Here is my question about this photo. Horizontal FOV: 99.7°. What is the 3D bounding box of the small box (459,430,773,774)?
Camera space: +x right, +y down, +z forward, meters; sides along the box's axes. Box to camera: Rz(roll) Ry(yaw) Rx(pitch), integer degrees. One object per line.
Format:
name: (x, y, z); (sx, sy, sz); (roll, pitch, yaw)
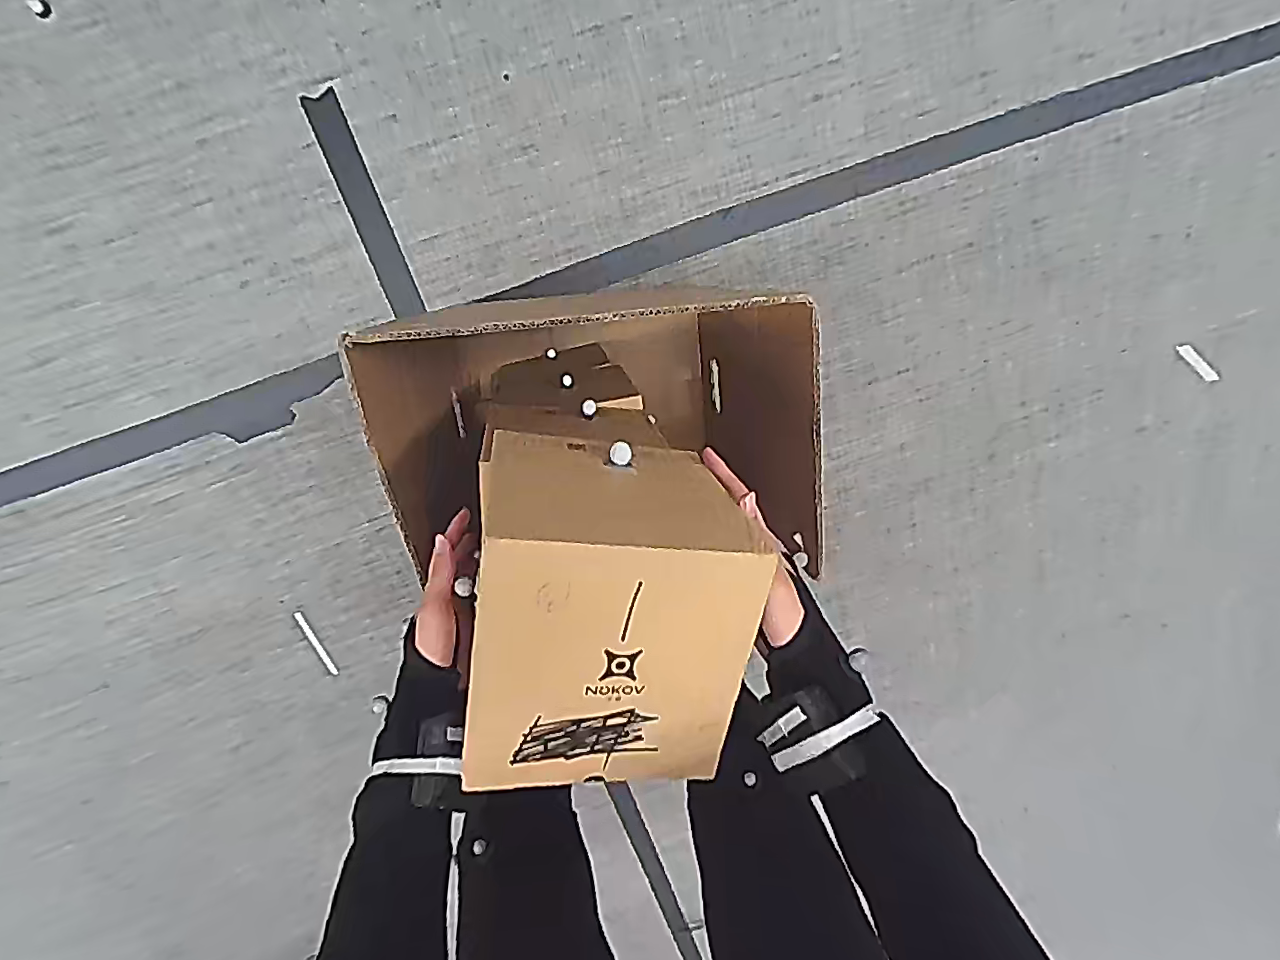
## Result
small box: (-0.032, 0.080, 0.395); (0.168, 0.176, 0.179); (6, 112, -15)
